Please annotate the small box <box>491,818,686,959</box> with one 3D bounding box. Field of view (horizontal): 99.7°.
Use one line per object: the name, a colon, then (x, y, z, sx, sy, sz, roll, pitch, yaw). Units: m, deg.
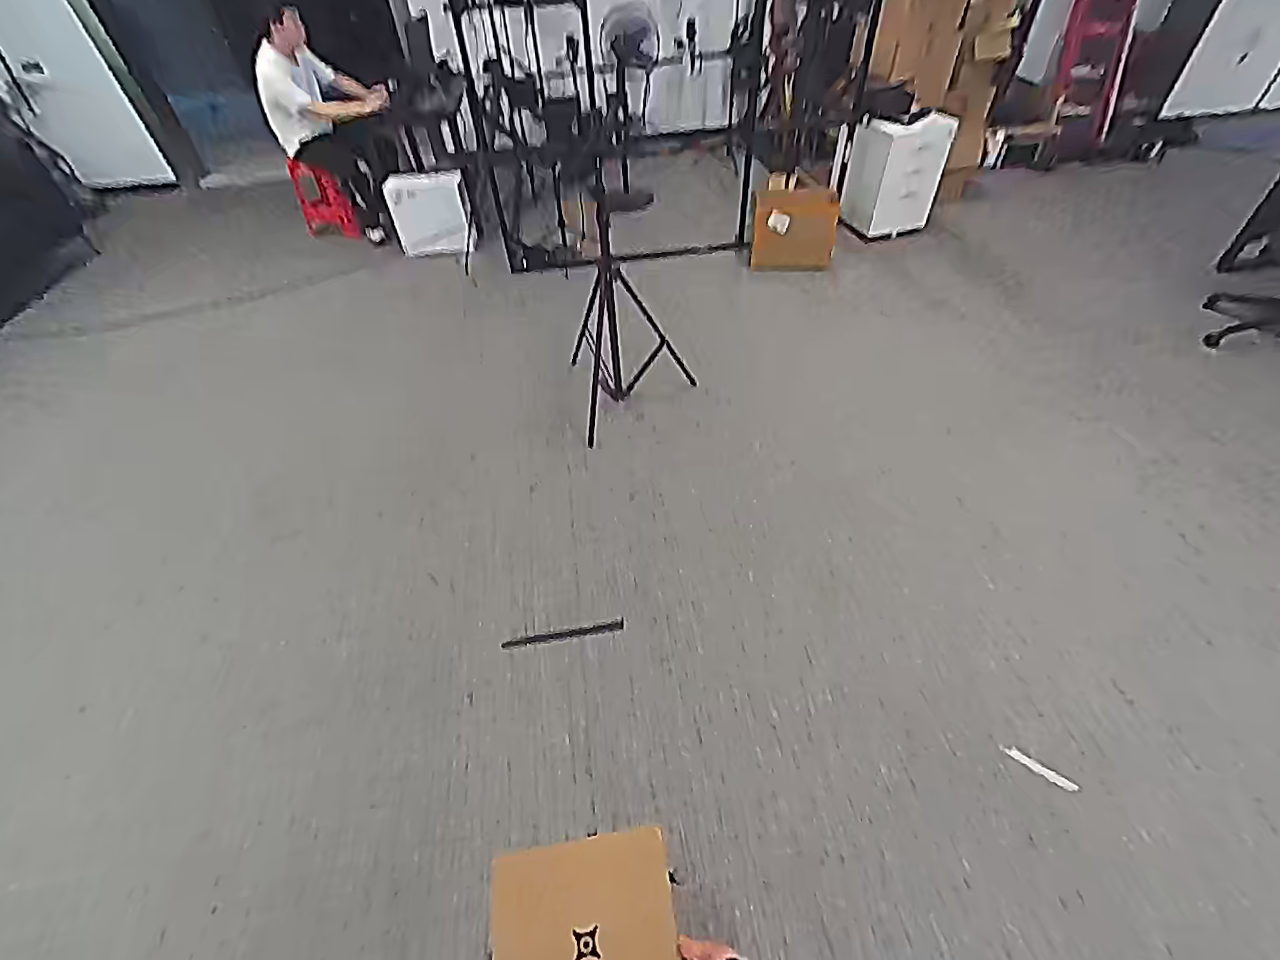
small box: (-0.042, 0.450, 0.525, 0.168, 0.176, 0.179, -10, 55, -3)
